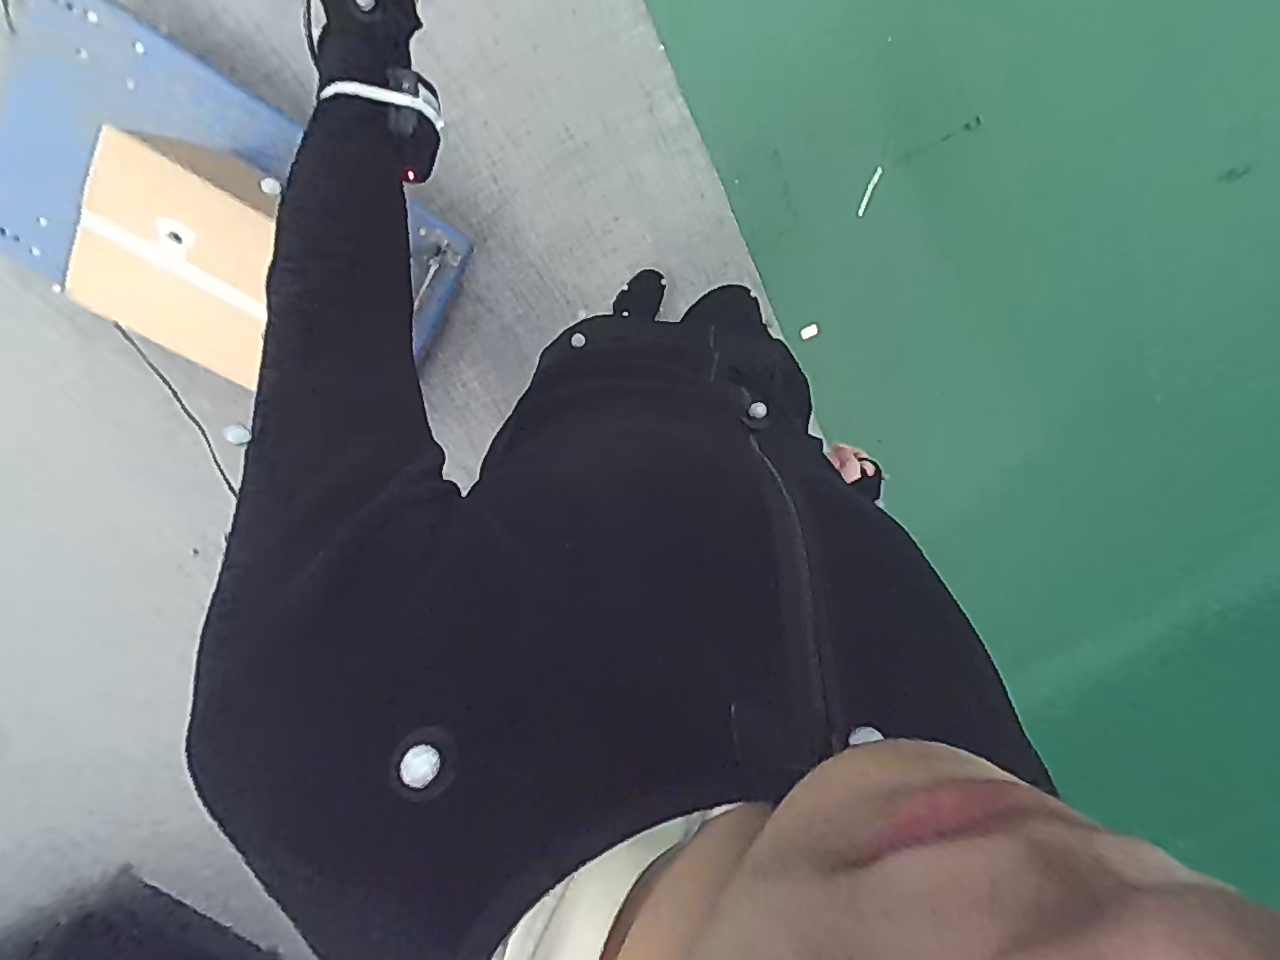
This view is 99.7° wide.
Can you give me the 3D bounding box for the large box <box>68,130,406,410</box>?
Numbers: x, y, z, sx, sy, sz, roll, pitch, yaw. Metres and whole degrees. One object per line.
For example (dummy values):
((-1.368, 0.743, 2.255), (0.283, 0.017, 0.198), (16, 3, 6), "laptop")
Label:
((-0.763, -0.405, 1.087), (0.408, 0.320, 0.320), (30, 108, -16), "large box")
